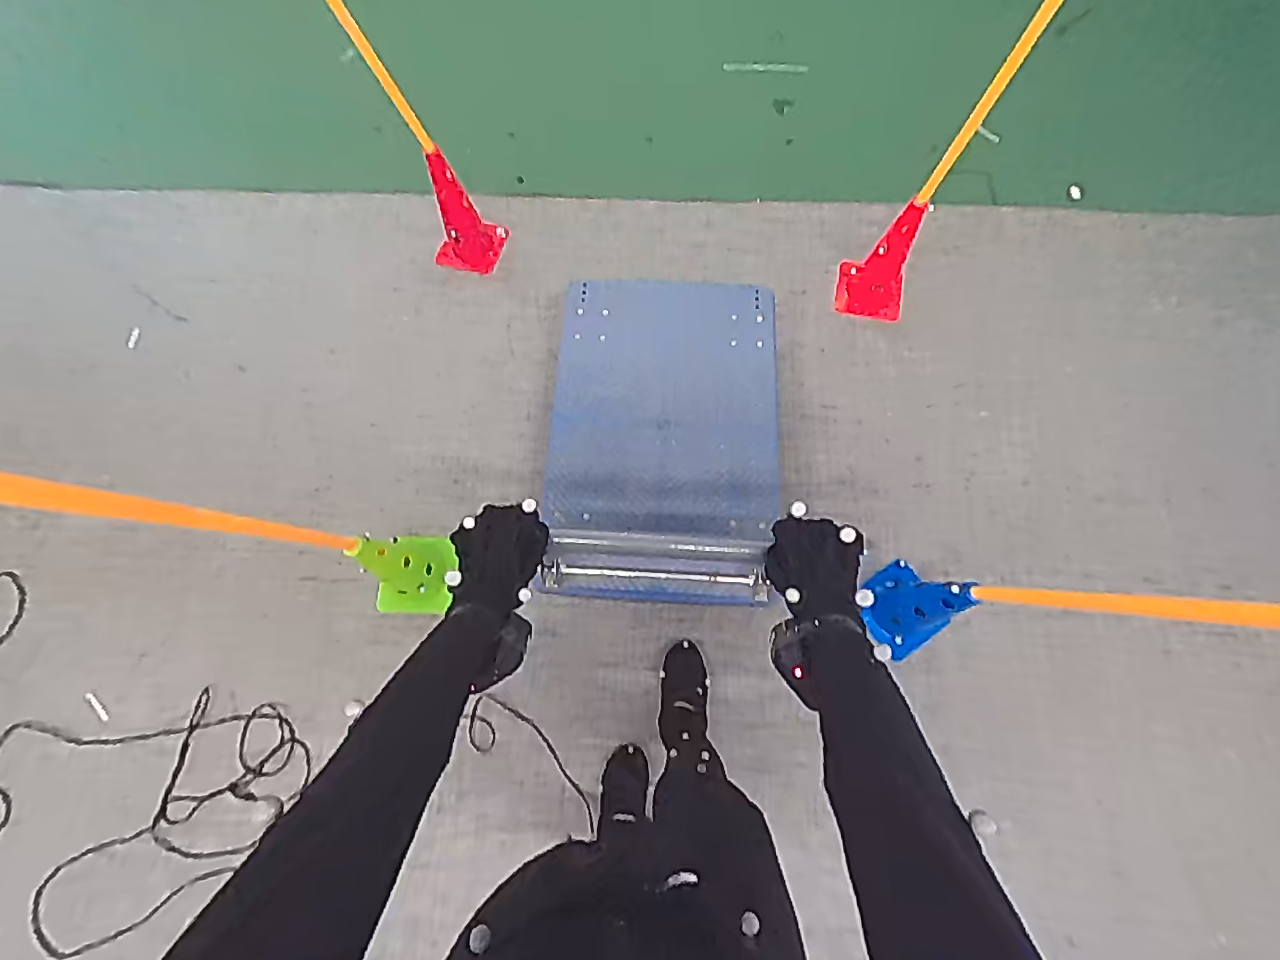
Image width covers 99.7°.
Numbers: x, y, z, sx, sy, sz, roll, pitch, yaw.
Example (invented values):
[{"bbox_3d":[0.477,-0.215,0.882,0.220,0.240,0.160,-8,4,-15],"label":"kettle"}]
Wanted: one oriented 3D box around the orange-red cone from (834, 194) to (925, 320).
[{"bbox_3d":[0.711,-0.649,1.530,0.198,0.360,0.199,13,72,7],"label":"orange-red cone"}]
